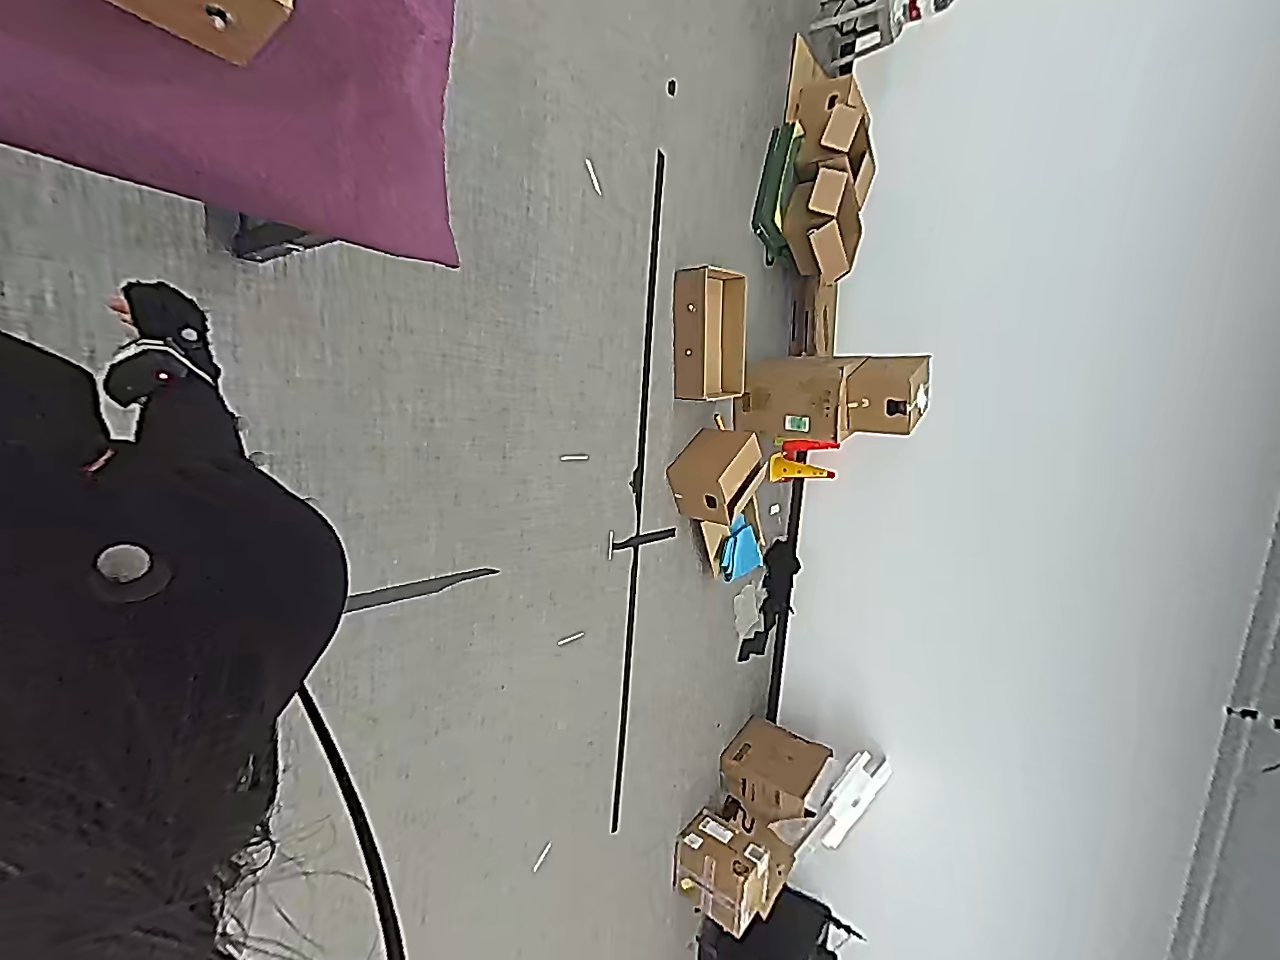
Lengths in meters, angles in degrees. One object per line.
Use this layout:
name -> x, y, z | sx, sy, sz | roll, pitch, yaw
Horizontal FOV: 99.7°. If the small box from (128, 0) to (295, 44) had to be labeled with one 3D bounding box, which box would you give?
small box -> -0.447, -0.560, 0.508 | 0.179, 0.176, 0.168 | 0, 96, -51
